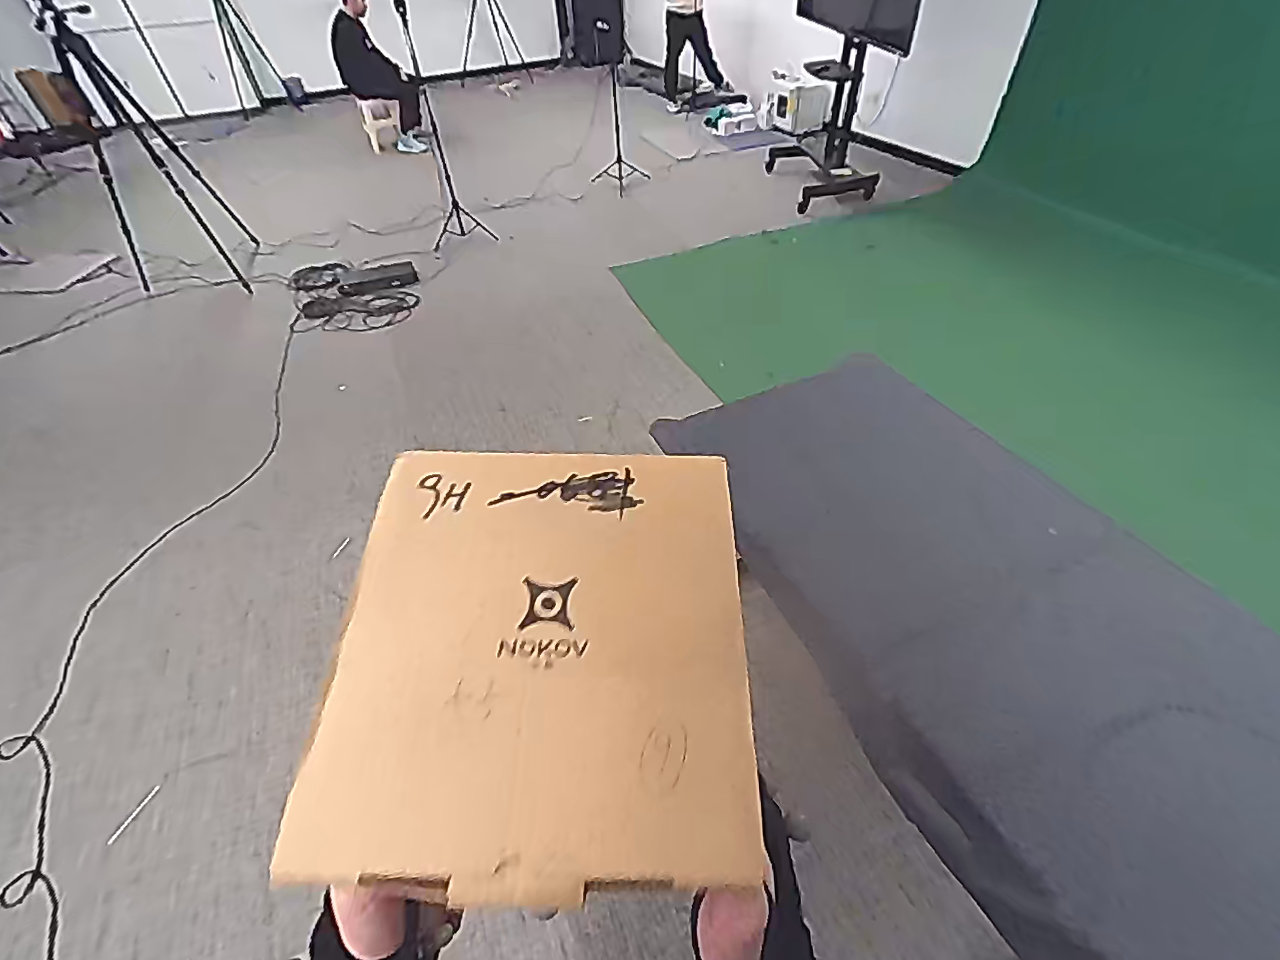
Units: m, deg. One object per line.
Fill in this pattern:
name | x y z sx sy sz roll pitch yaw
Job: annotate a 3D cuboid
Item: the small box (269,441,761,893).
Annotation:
small box | -0.042 0.100 0.287 0.168 0.176 0.179 3 57 -3
